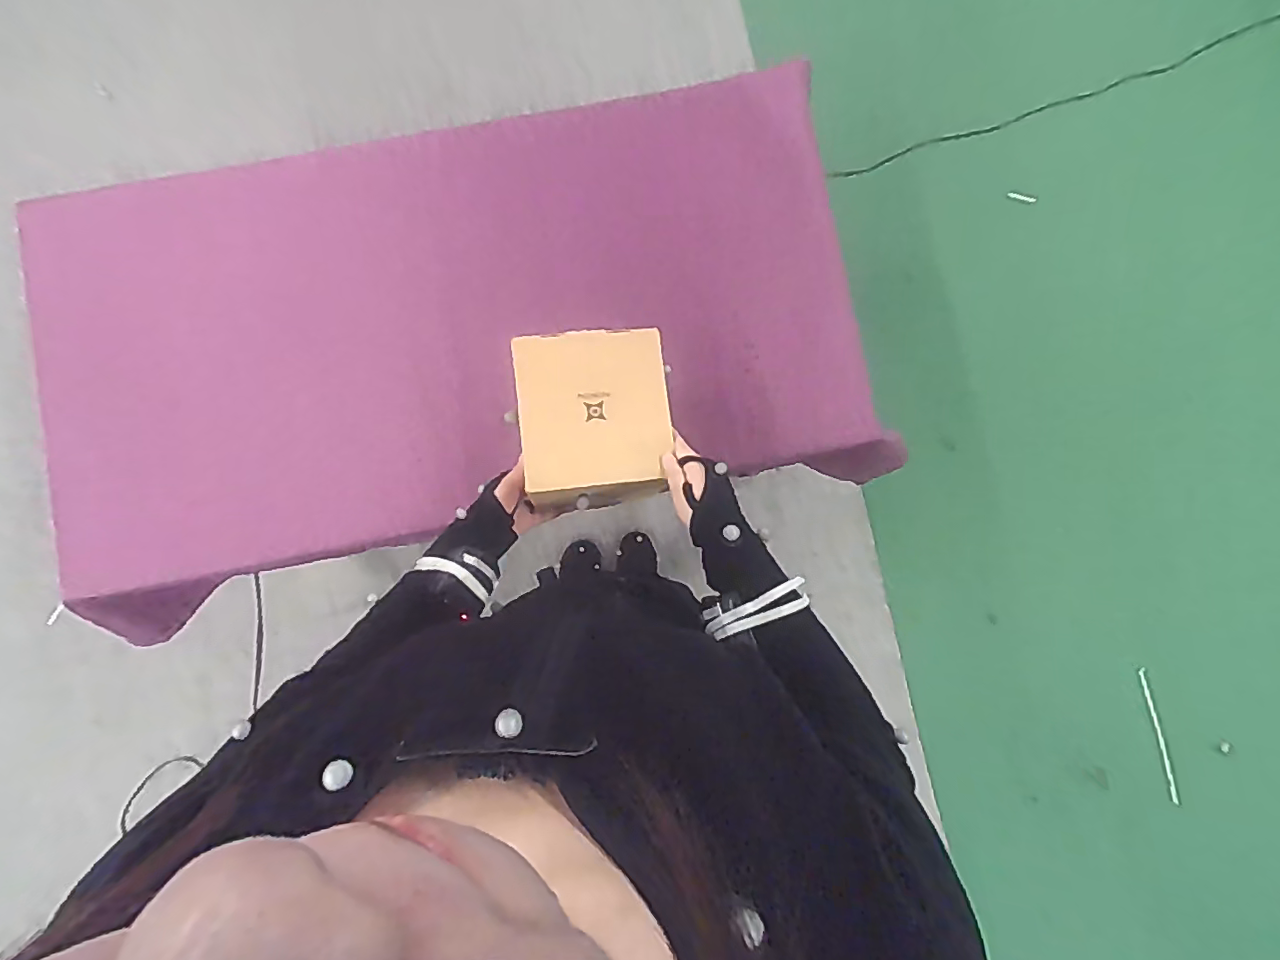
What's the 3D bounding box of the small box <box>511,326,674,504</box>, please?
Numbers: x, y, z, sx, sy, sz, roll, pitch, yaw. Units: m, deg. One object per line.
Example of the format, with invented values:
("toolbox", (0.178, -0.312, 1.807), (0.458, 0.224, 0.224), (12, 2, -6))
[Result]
("small box", (-0.059, -0.068, 0.662), (0.168, 0.176, 0.179), (-6, 81, -7))
